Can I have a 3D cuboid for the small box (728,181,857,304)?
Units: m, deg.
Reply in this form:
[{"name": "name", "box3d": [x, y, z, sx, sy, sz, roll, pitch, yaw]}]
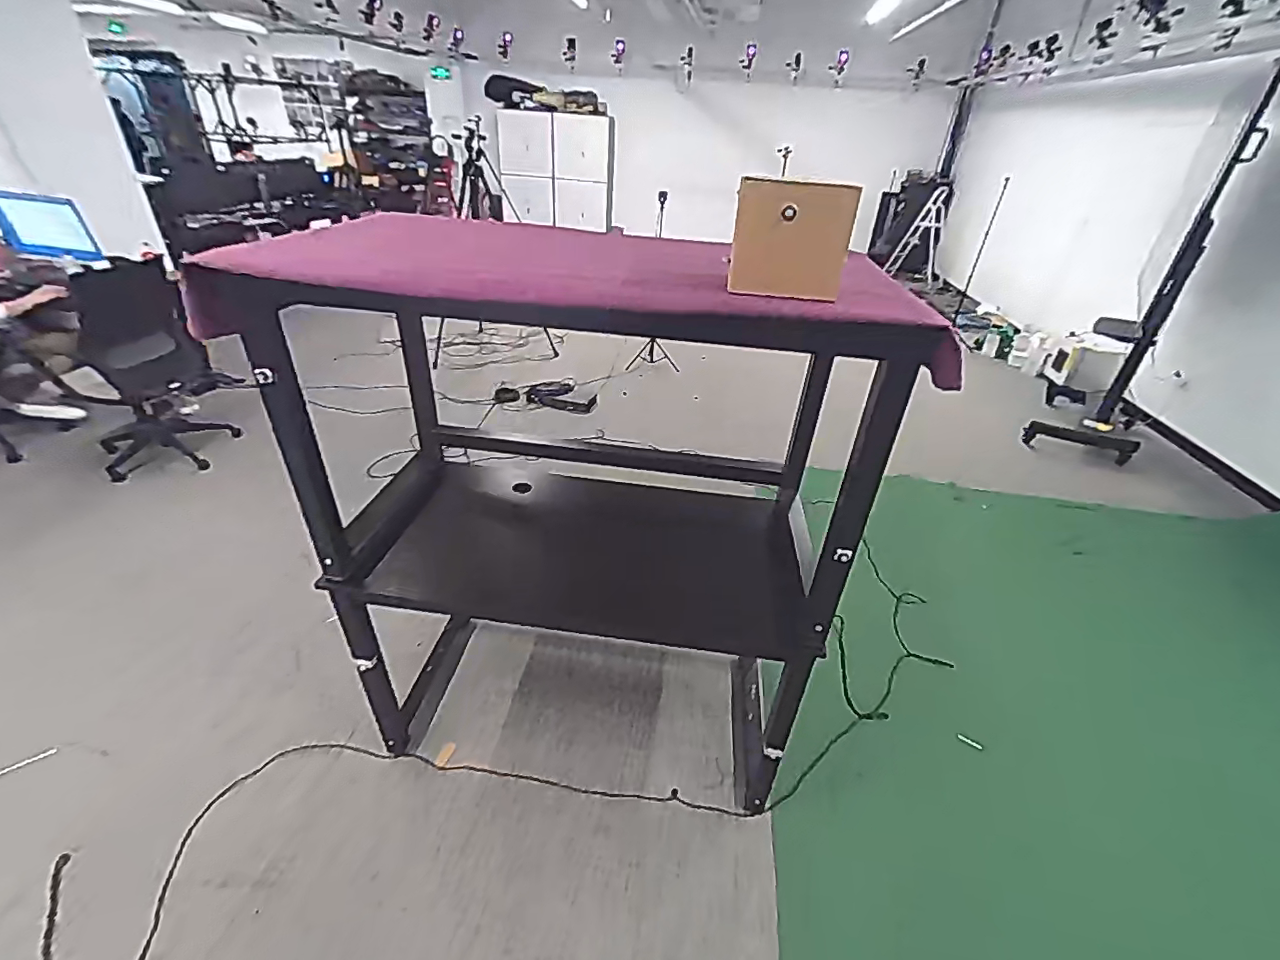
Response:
[{"name": "small box", "box3d": [0.244, -0.403, 0.916, 0.179, 0.176, 0.168, 7, 32, 5]}]
